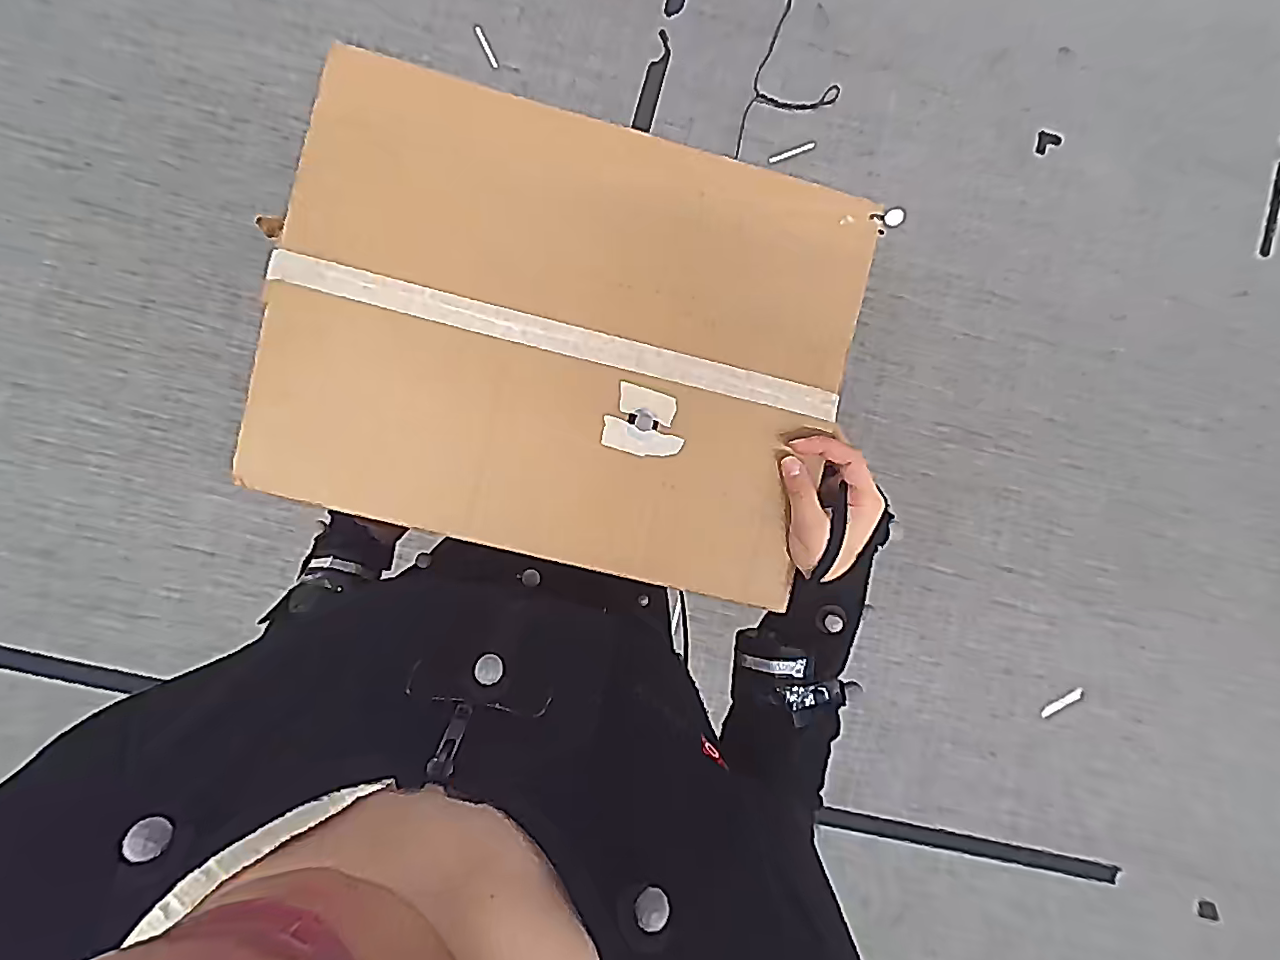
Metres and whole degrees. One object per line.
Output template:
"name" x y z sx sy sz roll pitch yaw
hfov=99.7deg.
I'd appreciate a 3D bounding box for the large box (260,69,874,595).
"large box" -0.059 -0.104 0.544 0.408 0.320 0.320 13 91 -5
